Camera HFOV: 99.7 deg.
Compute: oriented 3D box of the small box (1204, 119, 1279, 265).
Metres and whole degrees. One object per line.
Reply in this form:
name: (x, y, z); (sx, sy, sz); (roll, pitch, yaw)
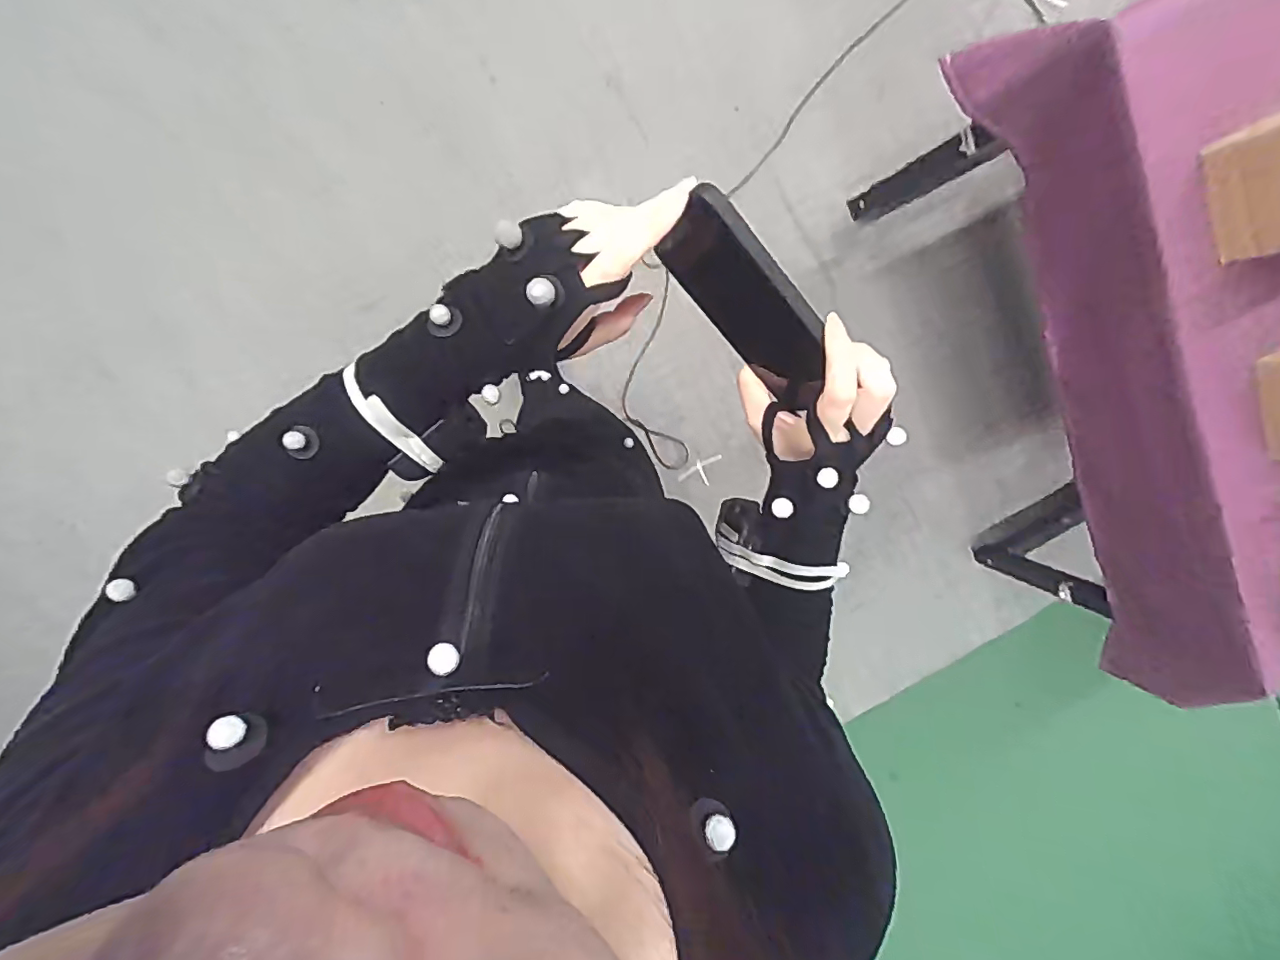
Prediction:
small box: (0.949, -0.427, 0.751); (0.168, 0.176, 0.179); (-26, 104, -4)
